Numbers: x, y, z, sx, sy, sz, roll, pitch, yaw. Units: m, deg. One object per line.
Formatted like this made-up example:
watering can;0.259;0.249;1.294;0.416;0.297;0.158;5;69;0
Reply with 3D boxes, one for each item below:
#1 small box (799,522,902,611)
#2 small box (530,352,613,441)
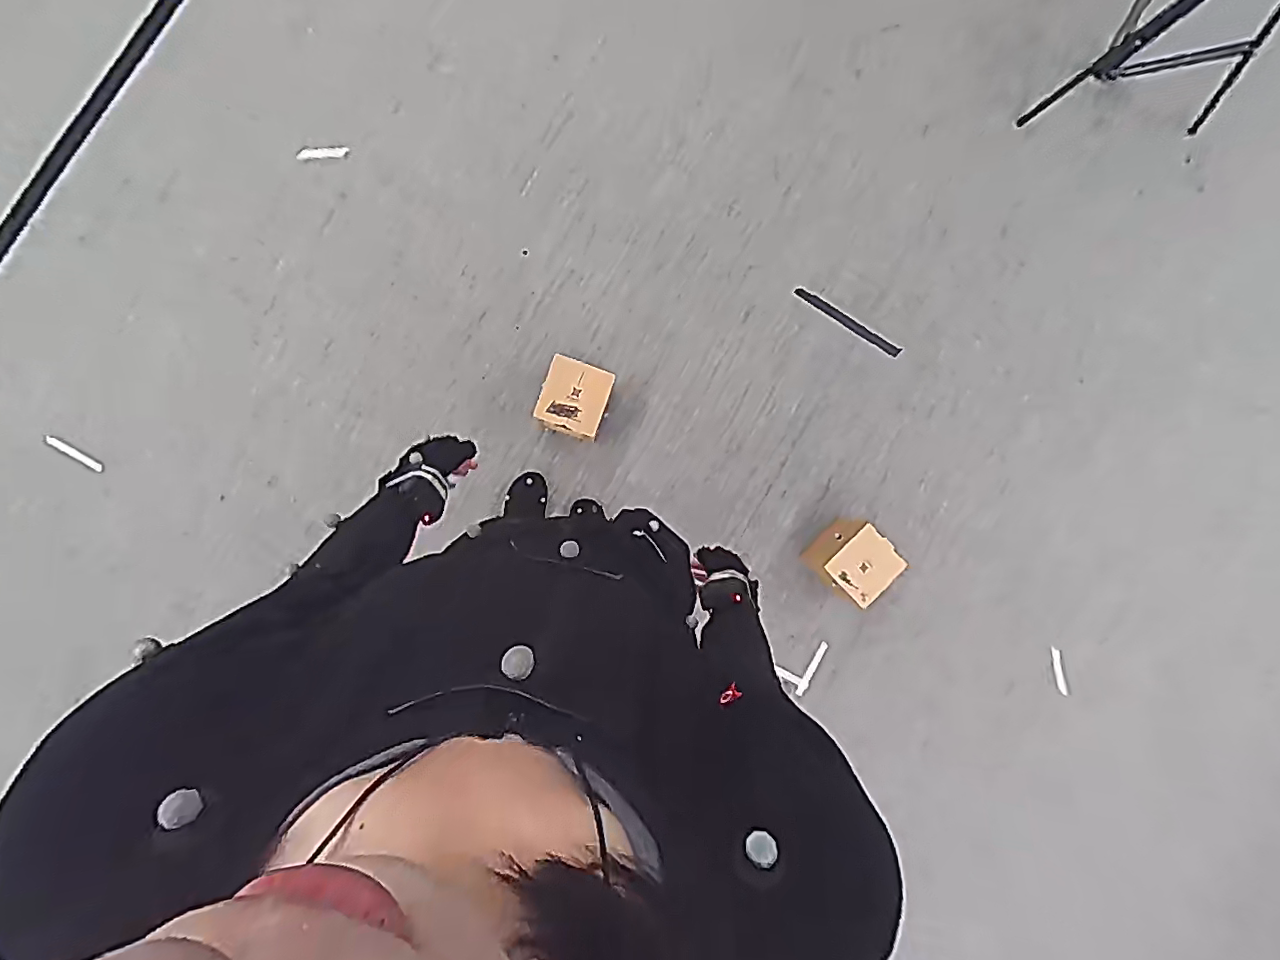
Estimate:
small box;0.583;0.233;1.520;0.179;0.176;0.168;-43;94;-5
small box;-0.177;-0.212;1.440;0.168;0.176;0.179;20;87;-6
